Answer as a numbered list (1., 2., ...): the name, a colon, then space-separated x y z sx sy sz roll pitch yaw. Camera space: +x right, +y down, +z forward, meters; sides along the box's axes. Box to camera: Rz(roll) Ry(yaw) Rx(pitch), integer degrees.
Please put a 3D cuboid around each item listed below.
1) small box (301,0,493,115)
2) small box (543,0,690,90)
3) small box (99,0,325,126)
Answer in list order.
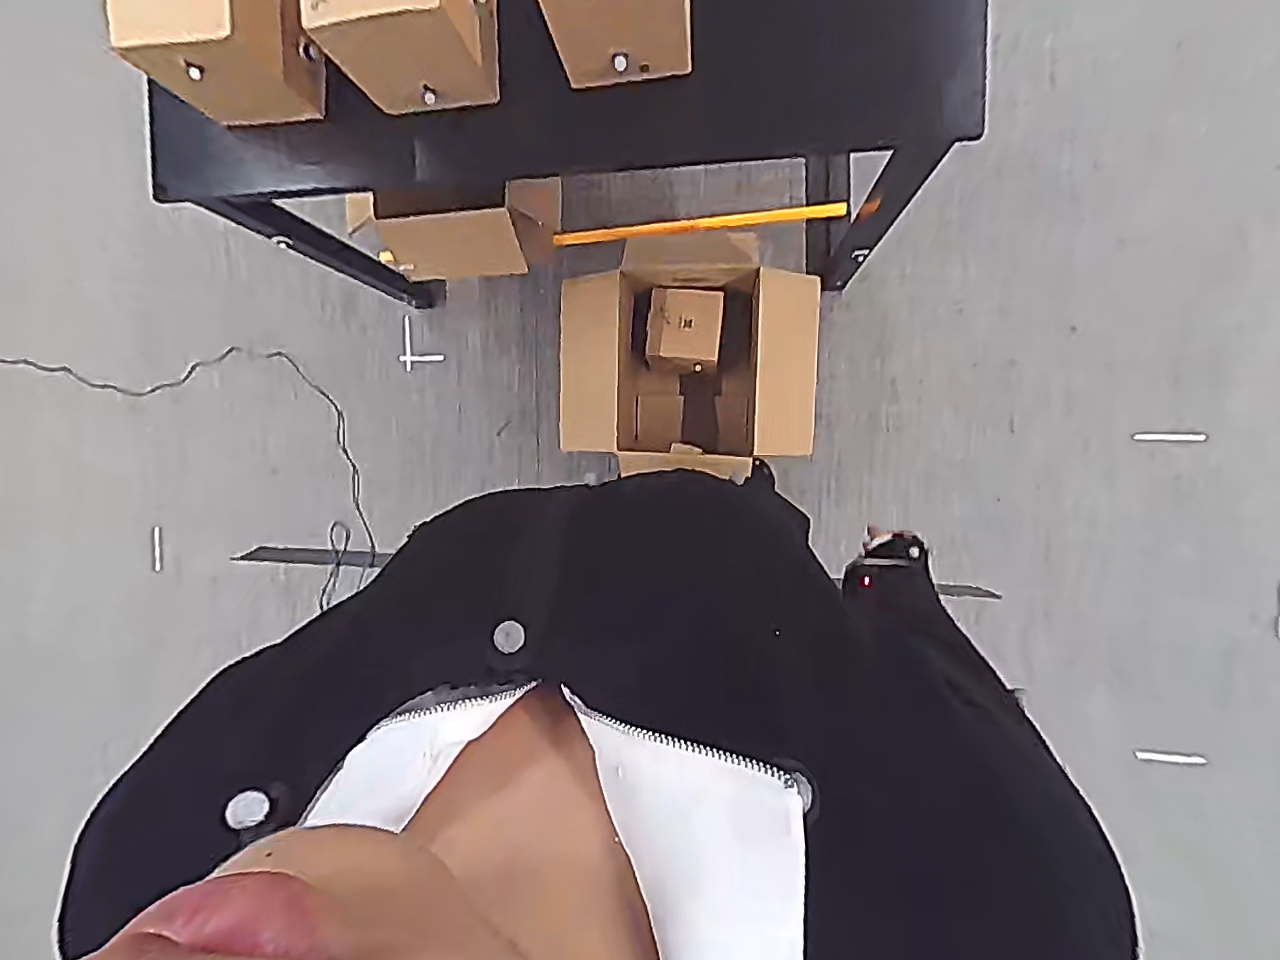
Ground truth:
1. small box: -0.295 -0.602 0.687 0.179 0.176 0.168 -2 92 6
2. small box: -0.026 -0.618 0.649 0.168 0.176 0.179 -2 93 8
3. small box: -0.557 -0.604 0.721 0.179 0.176 0.168 2 93 7
